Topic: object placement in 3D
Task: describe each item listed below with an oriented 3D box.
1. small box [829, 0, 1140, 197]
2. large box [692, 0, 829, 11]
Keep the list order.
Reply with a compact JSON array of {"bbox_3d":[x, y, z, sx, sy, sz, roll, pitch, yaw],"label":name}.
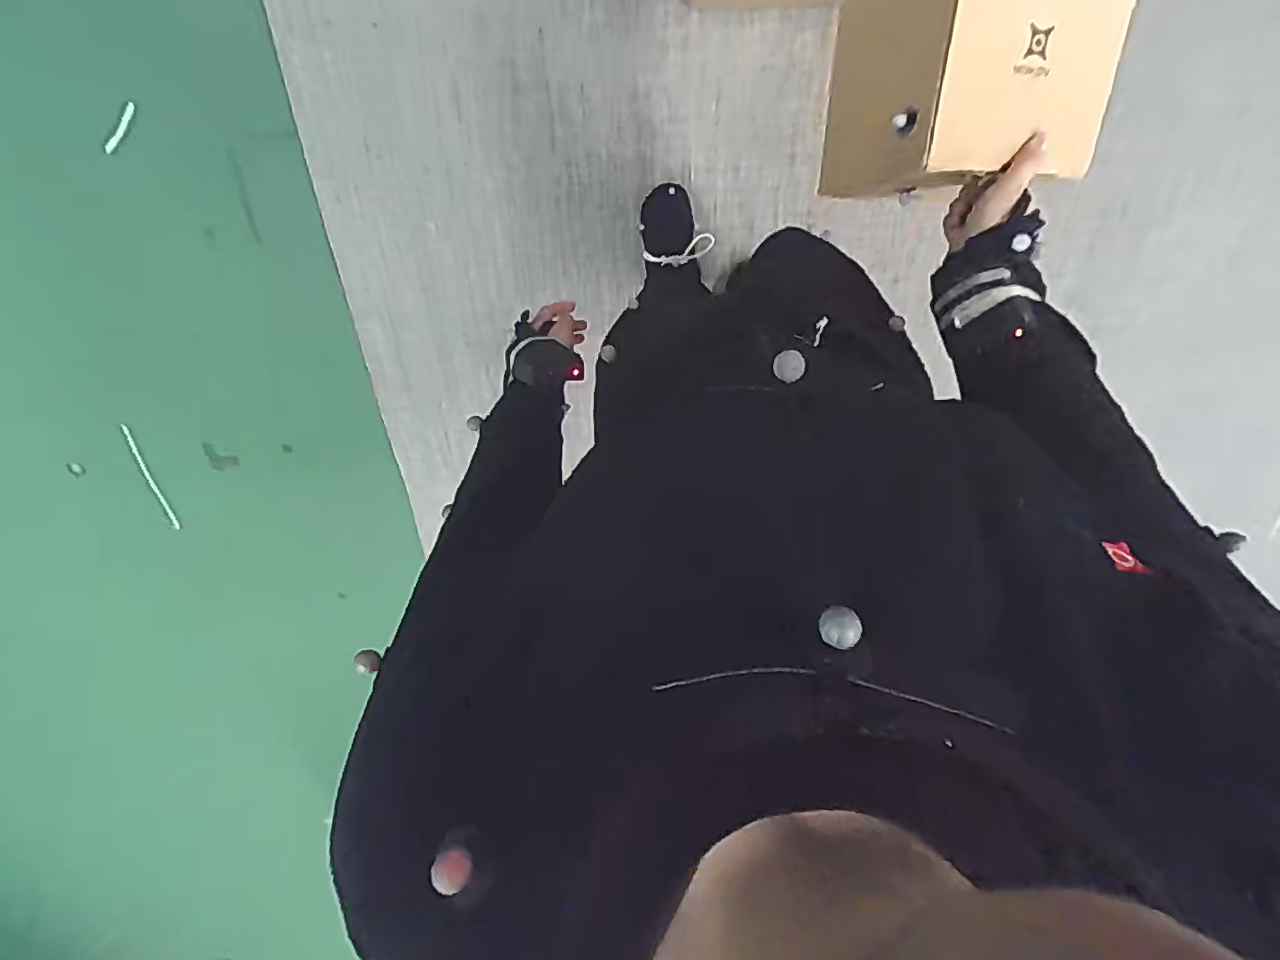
[{"bbox_3d":[0.295,-0.371,0.495,0.168,0.176,0.179,-4,112,-13],"label":"small box"},{"bbox_3d":[0.287,-0.933,0.785,0.408,0.320,0.320,-4,120,-1],"label":"large box"}]
